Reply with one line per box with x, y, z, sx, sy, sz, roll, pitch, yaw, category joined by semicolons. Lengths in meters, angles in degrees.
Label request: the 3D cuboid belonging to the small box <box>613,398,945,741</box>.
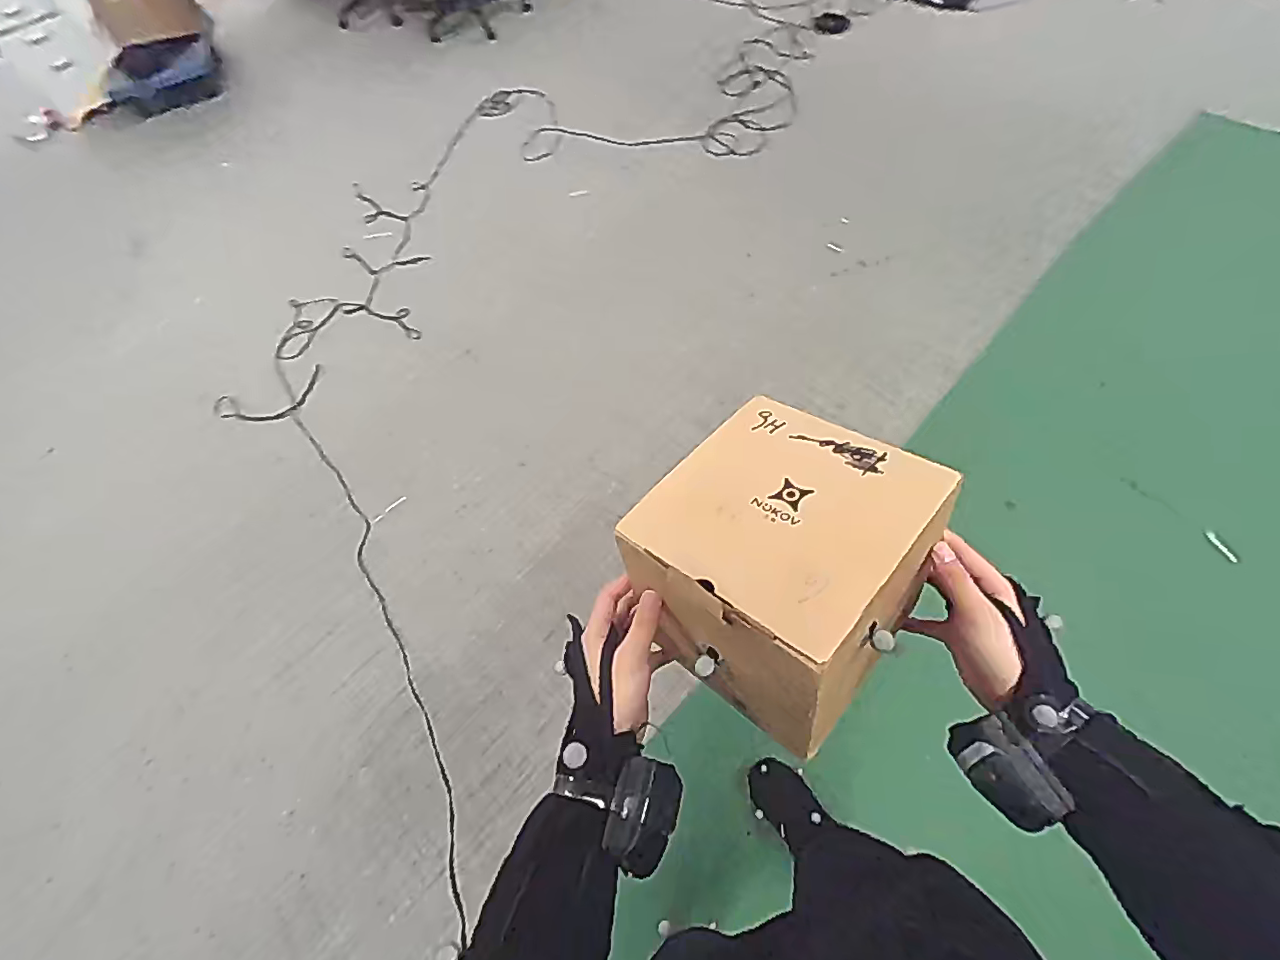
0.109;0.070;0.435;0.168;0.176;0.179;30;61;34;small box
